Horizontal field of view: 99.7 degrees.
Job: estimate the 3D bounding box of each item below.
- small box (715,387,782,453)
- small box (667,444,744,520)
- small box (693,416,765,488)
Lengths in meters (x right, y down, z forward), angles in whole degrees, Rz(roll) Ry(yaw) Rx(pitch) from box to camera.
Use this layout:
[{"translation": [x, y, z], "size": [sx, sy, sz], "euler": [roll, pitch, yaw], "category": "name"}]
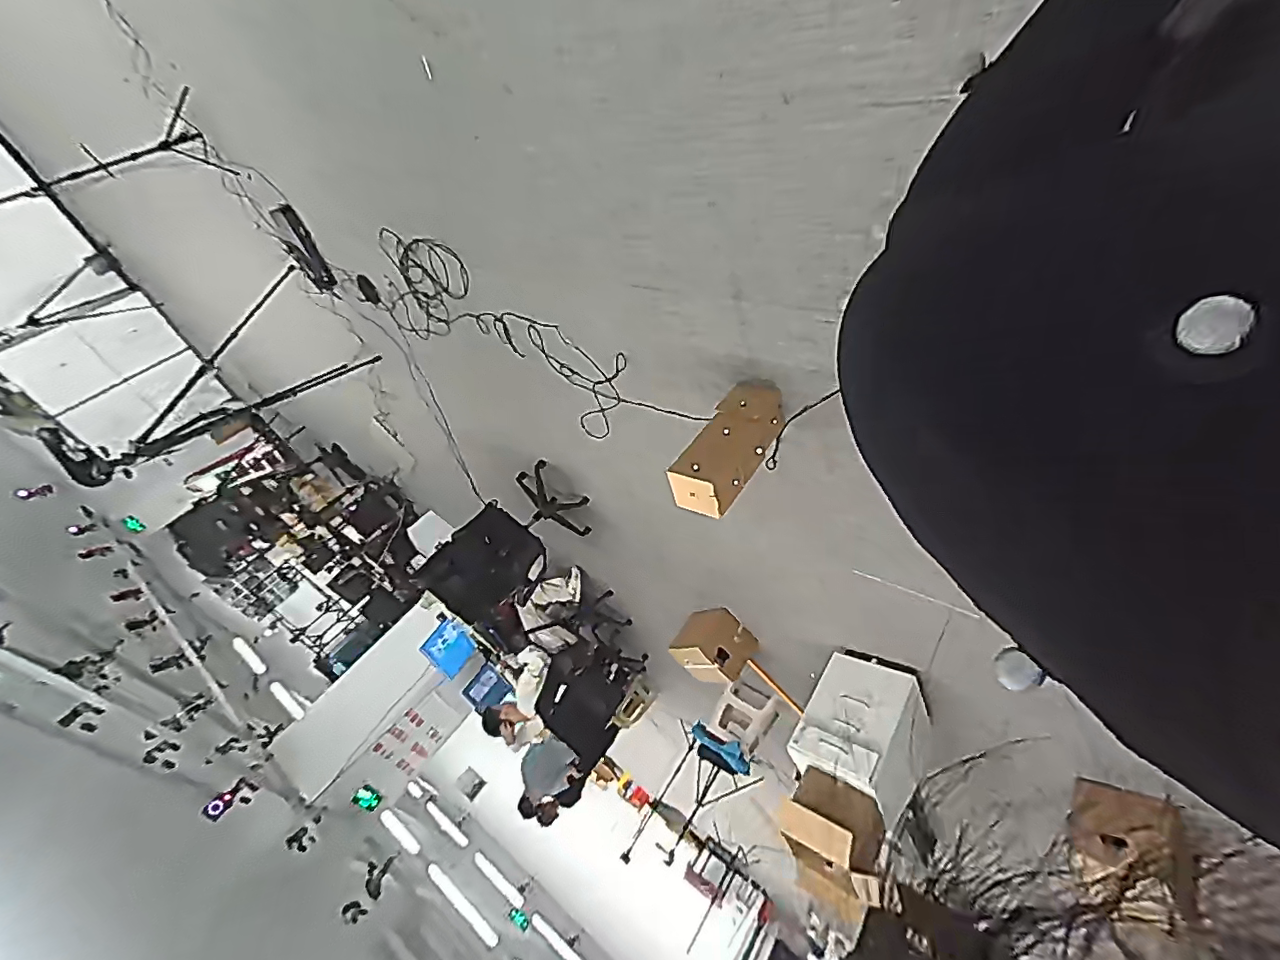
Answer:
[{"translation": [0.400, -0.221, 1.950], "size": [0.179, 0.176, 0.168], "euler": [15, 140, 39], "category": "small box"}, {"translation": [0.220, -0.001, 1.790], "size": [0.179, 0.176, 0.168], "euler": [16, 141, 36], "category": "small box"}, {"translation": [0.312, -0.102, 1.878], "size": [0.179, 0.176, 0.168], "euler": [17, 142, 35], "category": "small box"}]
